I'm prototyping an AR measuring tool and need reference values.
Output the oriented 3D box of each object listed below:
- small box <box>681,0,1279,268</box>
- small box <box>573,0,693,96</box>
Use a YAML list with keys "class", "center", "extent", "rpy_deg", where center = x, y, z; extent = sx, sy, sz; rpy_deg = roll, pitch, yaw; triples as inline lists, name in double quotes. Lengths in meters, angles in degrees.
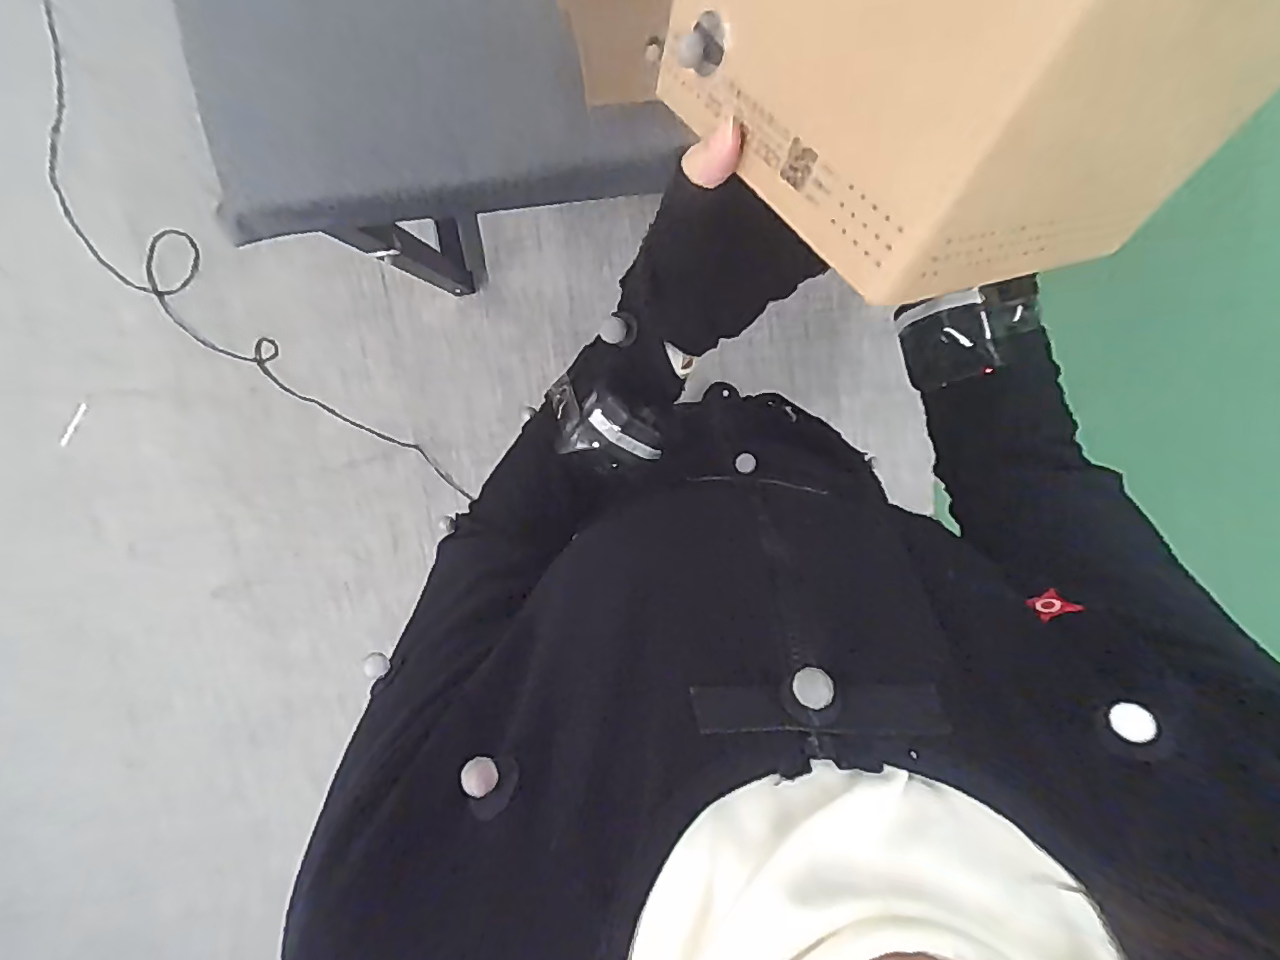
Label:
- class: "small box"
  center: [0.132, -0.203, 0.201]
  extent: [0.179, 0.176, 0.168]
  rpy_deg: [-21, 65, -26]
- class: "small box"
  center: [0.022, -0.510, 0.529]
  extent: [0.179, 0.176, 0.168]
  rpy_deg: [-4, 99, 1]
